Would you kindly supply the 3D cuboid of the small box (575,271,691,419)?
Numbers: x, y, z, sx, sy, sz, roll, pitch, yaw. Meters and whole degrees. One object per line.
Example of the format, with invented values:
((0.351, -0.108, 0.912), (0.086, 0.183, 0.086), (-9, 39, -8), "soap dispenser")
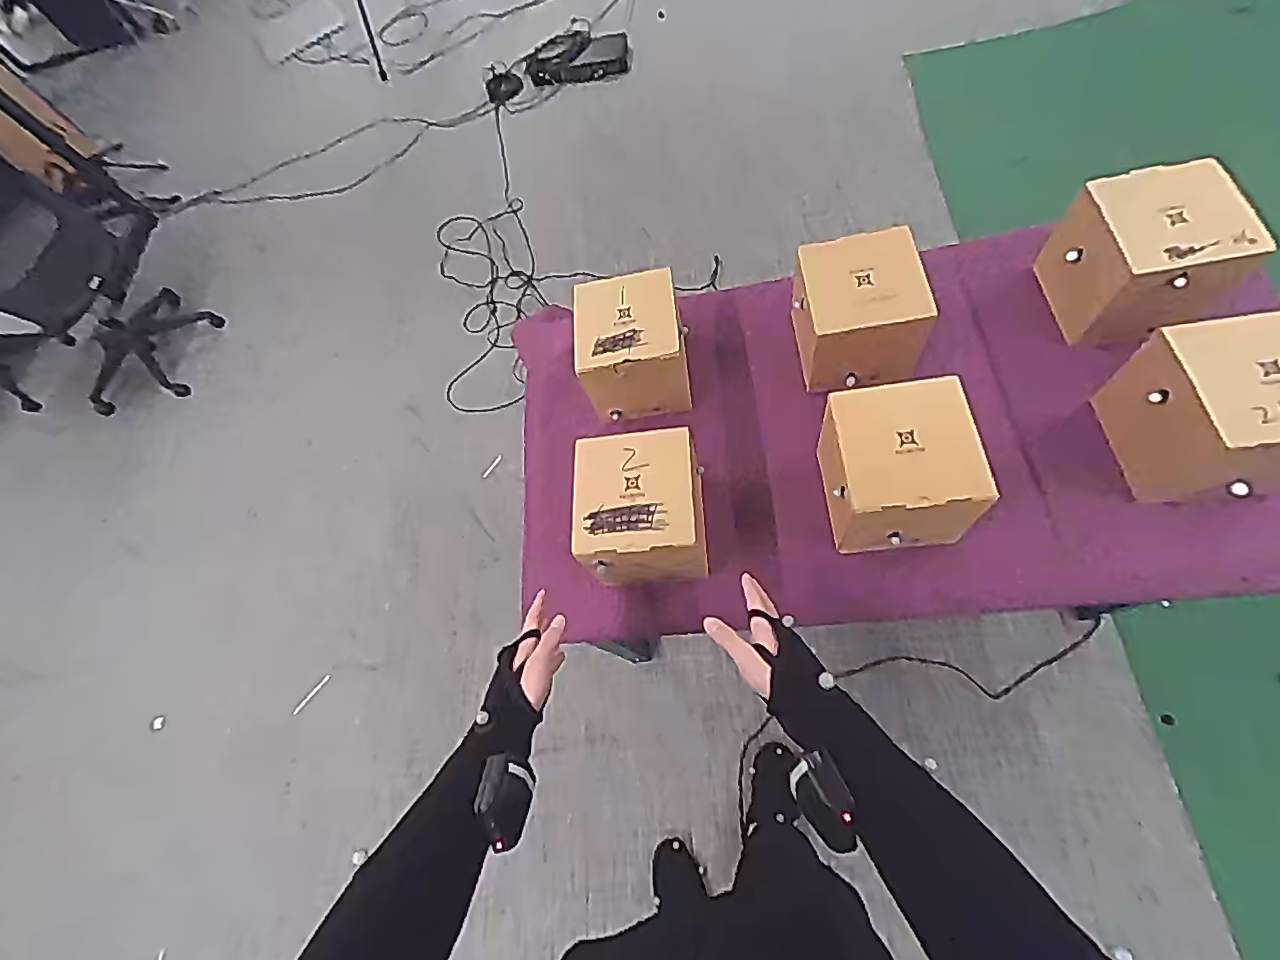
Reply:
((-0.007, -0.218, 0.926), (0.168, 0.176, 0.179), (-8, 65, 9), "small box")

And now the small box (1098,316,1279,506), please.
((0.742, -0.082, 0.691), (0.168, 0.176, 0.179), (-6, 64, 11), "small box")

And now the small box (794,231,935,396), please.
((0.344, -0.258, 0.866), (0.168, 0.176, 0.179), (-7, 66, 11), "small box")

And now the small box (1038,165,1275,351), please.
((0.736, -0.320, 0.802), (0.168, 0.176, 0.179), (-8, 65, 10), "small box")
